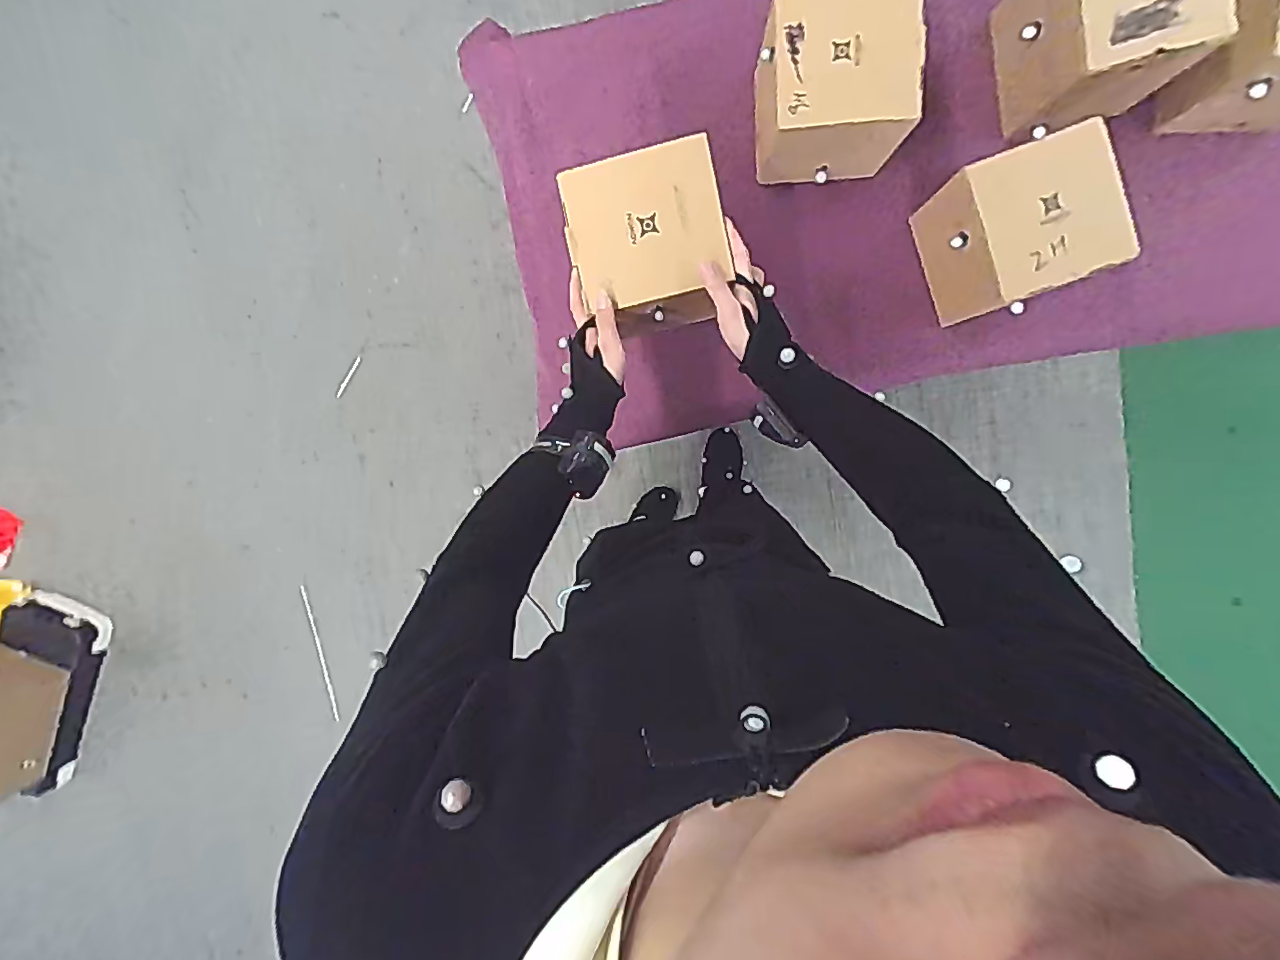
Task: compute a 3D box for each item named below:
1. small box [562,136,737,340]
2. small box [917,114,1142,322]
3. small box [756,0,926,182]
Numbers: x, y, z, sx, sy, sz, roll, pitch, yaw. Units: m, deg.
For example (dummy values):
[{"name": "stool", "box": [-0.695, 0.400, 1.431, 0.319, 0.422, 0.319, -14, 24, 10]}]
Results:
[{"name": "small box", "box": [0.019, -0.286, 0.683, 0.179, 0.176, 0.168, -11, 93, 7]}, {"name": "small box", "box": [0.508, -0.337, 0.733, 0.168, 0.176, 0.179, -19, 94, 7]}, {"name": "small box", "box": [0.258, -0.526, 0.730, 0.179, 0.176, 0.168, -2, 96, 4]}]
